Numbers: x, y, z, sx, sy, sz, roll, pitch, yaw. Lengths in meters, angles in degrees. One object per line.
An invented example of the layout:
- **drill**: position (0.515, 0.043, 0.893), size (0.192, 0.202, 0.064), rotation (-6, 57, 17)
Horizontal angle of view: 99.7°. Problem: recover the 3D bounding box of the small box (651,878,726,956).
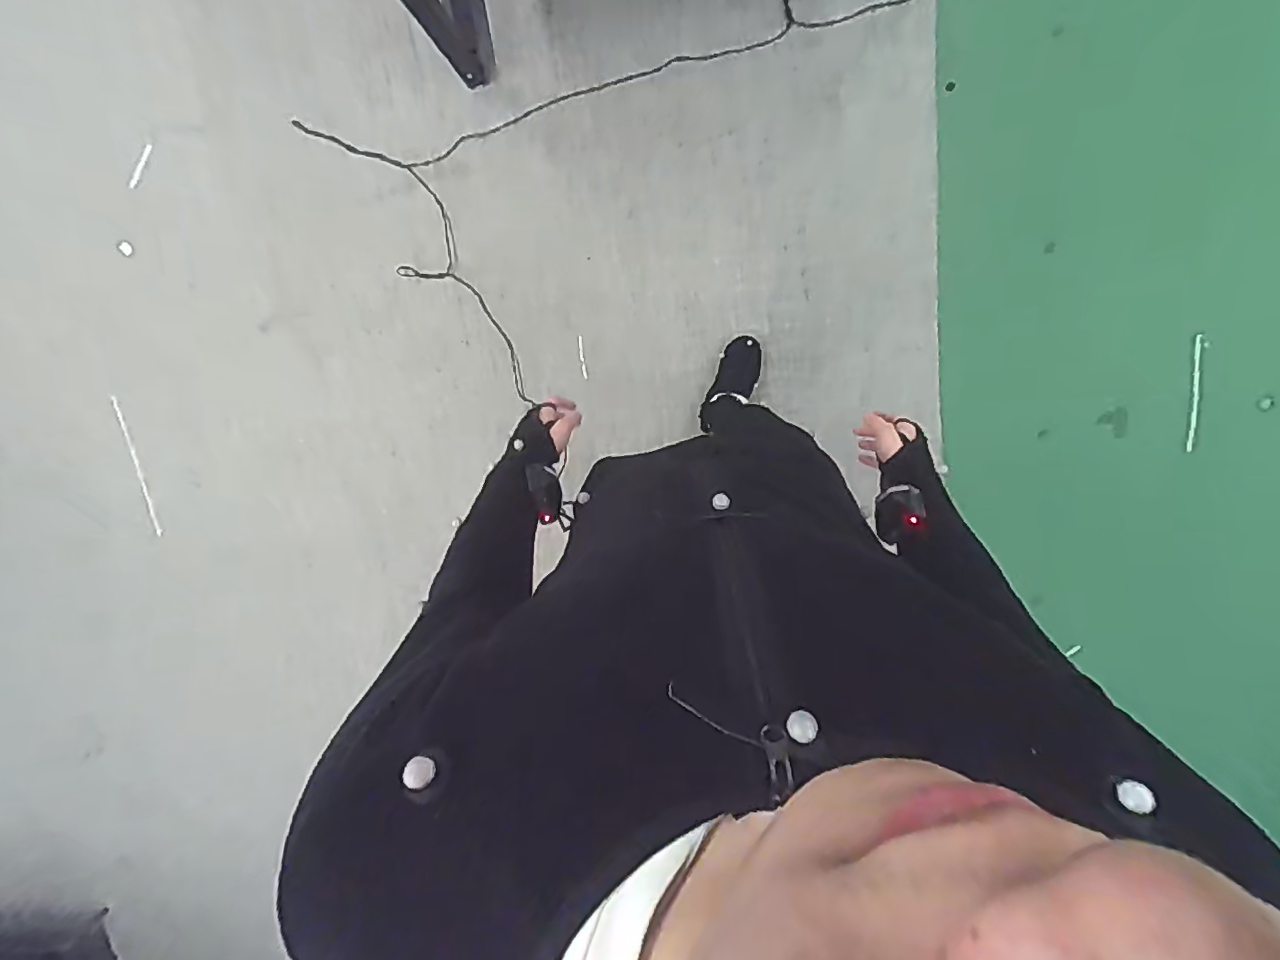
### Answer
- **small box**: position (0.125, 1.145, 1.365), size (0.179, 0.176, 0.168), rotation (-4, 102, 5)
